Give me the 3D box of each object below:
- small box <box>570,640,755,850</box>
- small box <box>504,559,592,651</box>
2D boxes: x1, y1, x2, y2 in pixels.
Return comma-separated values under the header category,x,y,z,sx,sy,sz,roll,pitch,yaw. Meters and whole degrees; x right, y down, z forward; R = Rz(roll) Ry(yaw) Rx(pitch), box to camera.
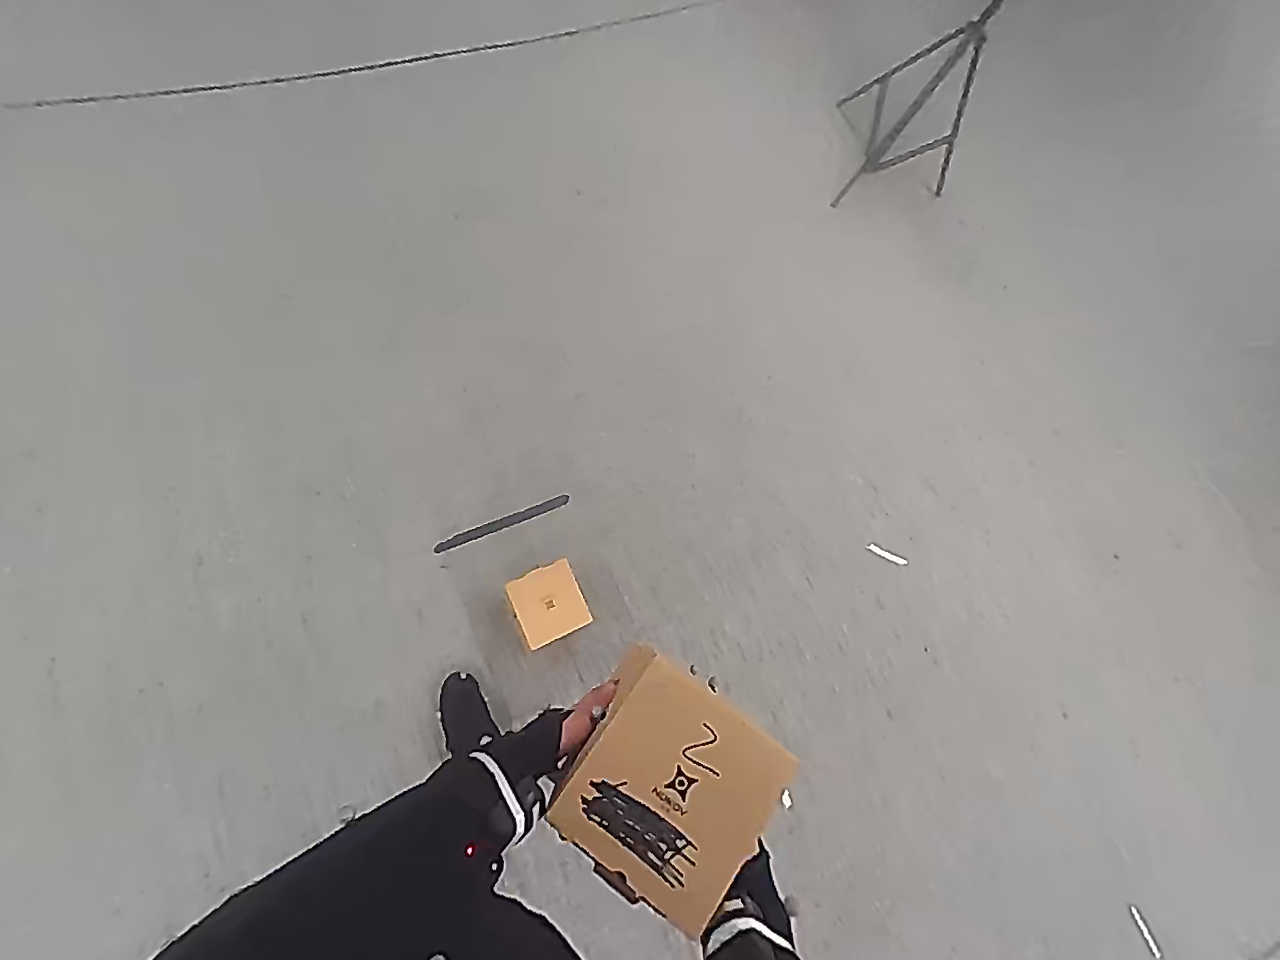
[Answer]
category,x,y,z,sx,sy,sz,roll,pitch,yaw
small box,0.023,0.331,0.721,0.168,0.176,0.179,31,77,4
small box,-0.242,0.325,1.394,0.168,0.176,0.179,-22,79,-20
